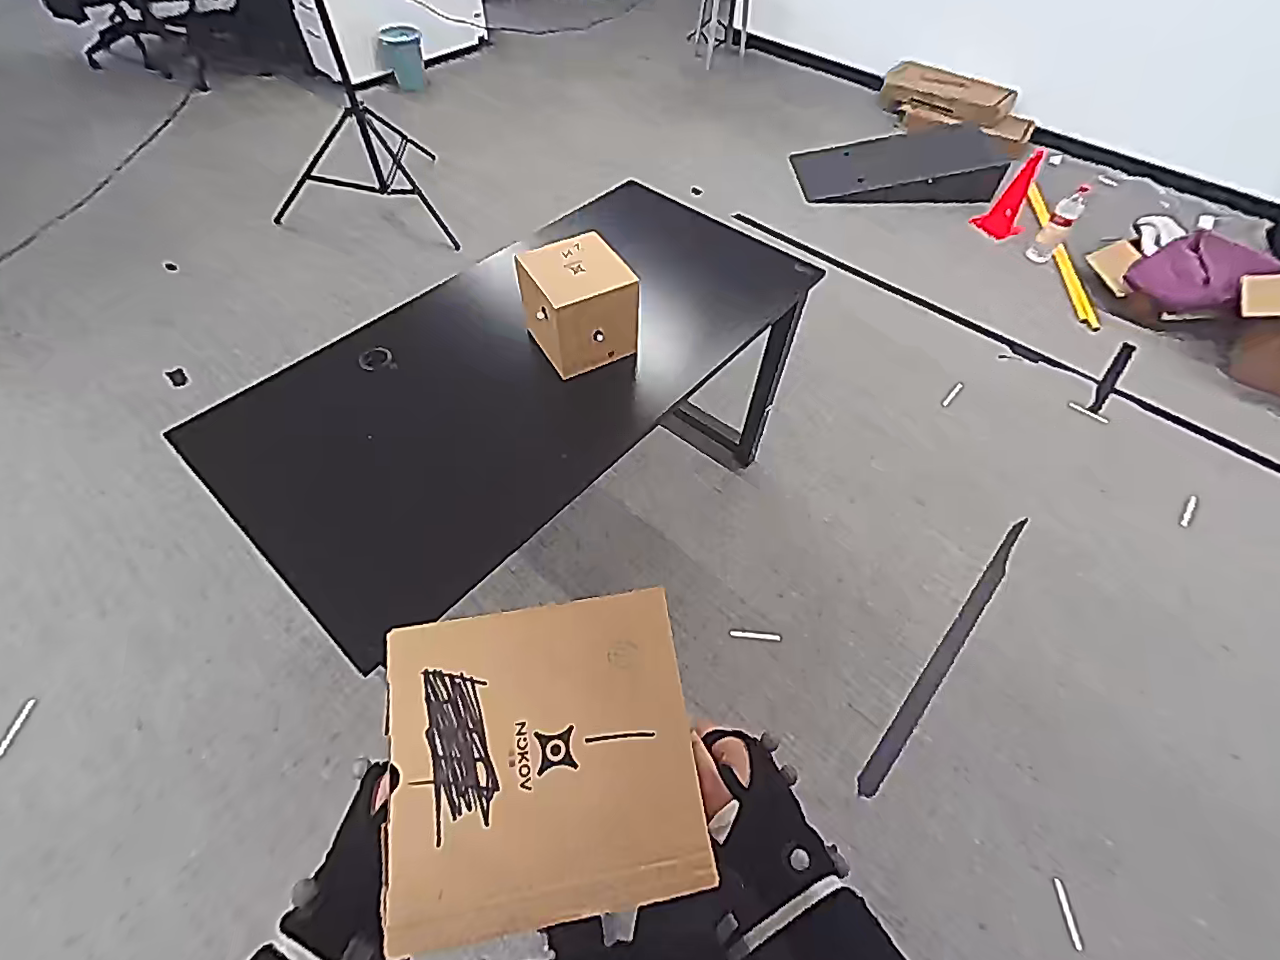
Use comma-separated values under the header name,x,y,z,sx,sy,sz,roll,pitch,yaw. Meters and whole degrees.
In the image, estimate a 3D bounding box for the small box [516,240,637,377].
name,x,y,z,sx,sy,sz,roll,pitch,yaw
small box,-0.116,-0.319,1.035,0.168,0.176,0.179,-25,59,-18

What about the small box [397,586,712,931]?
name,x,y,z,sx,sy,sz,roll,pitch,yaw
small box,-0.058,0.187,0.397,0.179,0.176,0.168,-8,68,-6
